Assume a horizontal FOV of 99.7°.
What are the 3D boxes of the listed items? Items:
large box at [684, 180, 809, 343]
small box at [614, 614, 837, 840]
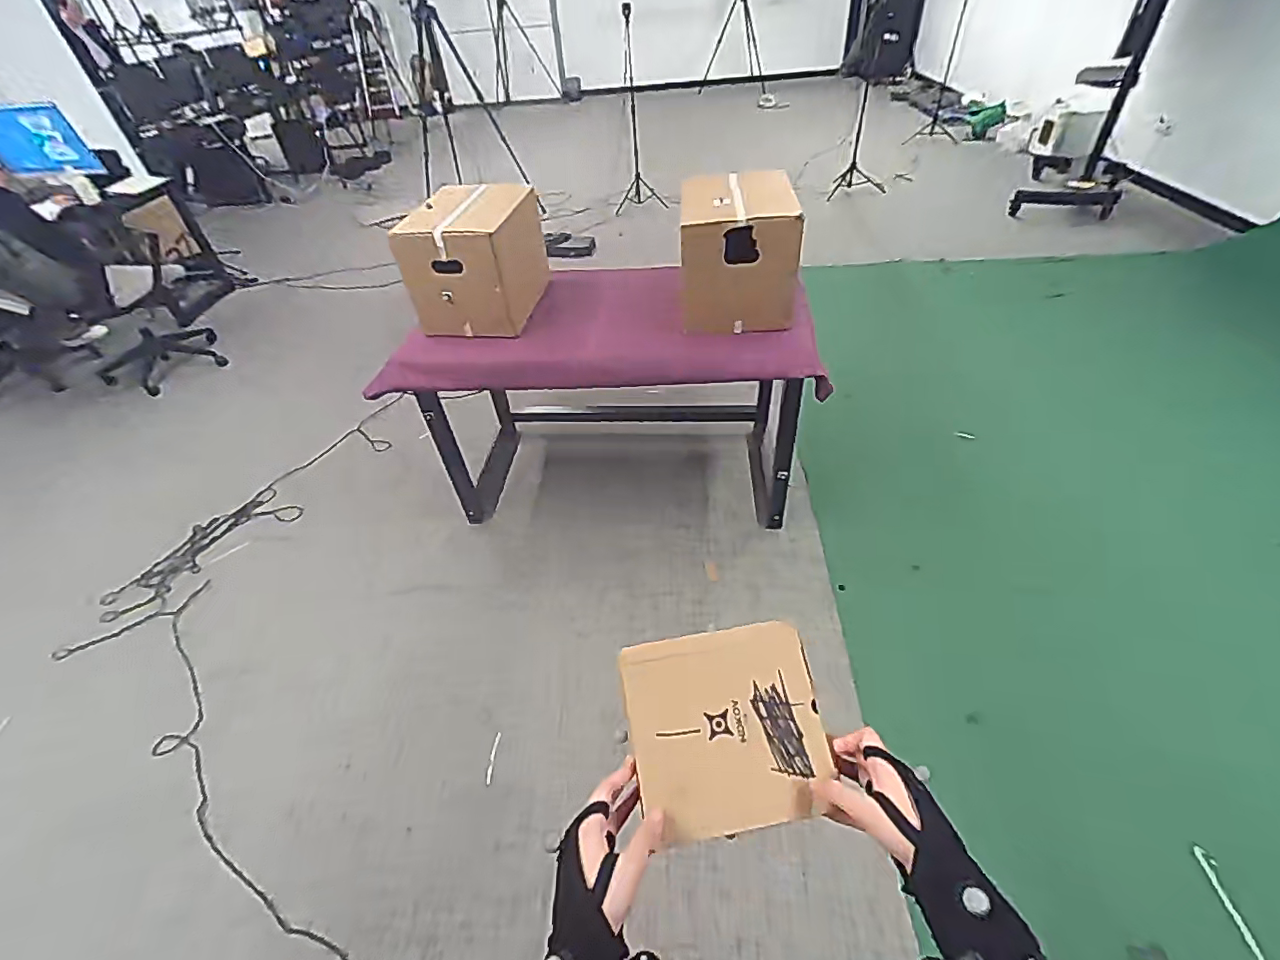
[{"bbox_3d":[0.293,-0.651,1.597,0.320,0.320,0.408,-2,44,7],"label":"large box"},{"bbox_3d":[0.070,0.247,0.557,0.179,0.176,0.168,-8,64,-4],"label":"small box"}]
